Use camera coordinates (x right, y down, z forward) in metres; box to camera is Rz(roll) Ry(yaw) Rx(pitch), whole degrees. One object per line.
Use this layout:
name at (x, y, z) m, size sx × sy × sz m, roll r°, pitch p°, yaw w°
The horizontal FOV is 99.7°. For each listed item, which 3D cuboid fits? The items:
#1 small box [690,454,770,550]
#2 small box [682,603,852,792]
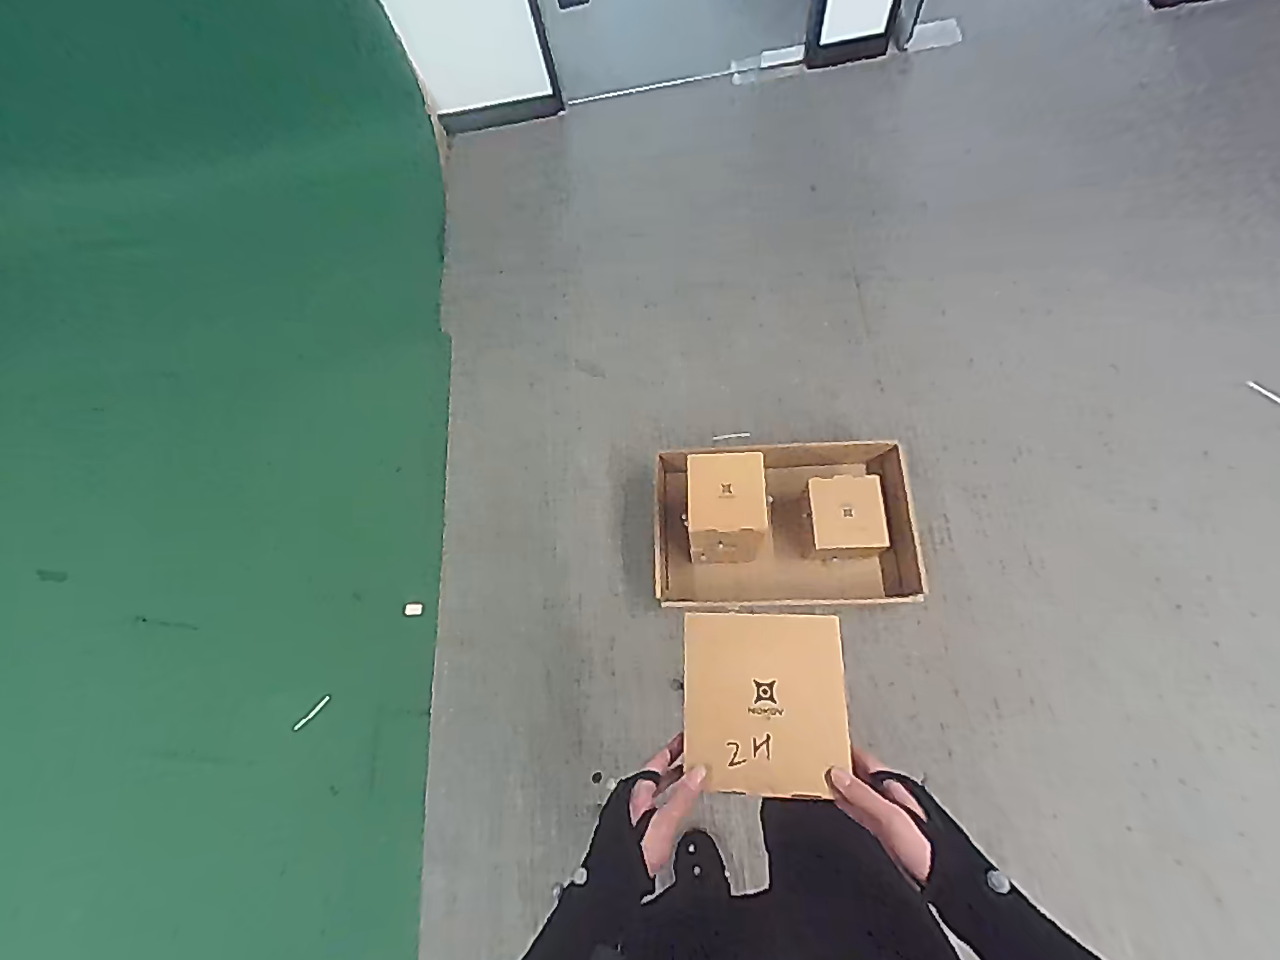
small box at (0.196, 0.054, 1.221) m, size 0.168 × 0.176 × 0.179 m, roll -2°, pitch 70°, yaw 6°
small box at (0.134, 0.244, 0.629) m, size 0.168 × 0.176 × 0.179 m, roll 0°, pitch 71°, yaw 6°
